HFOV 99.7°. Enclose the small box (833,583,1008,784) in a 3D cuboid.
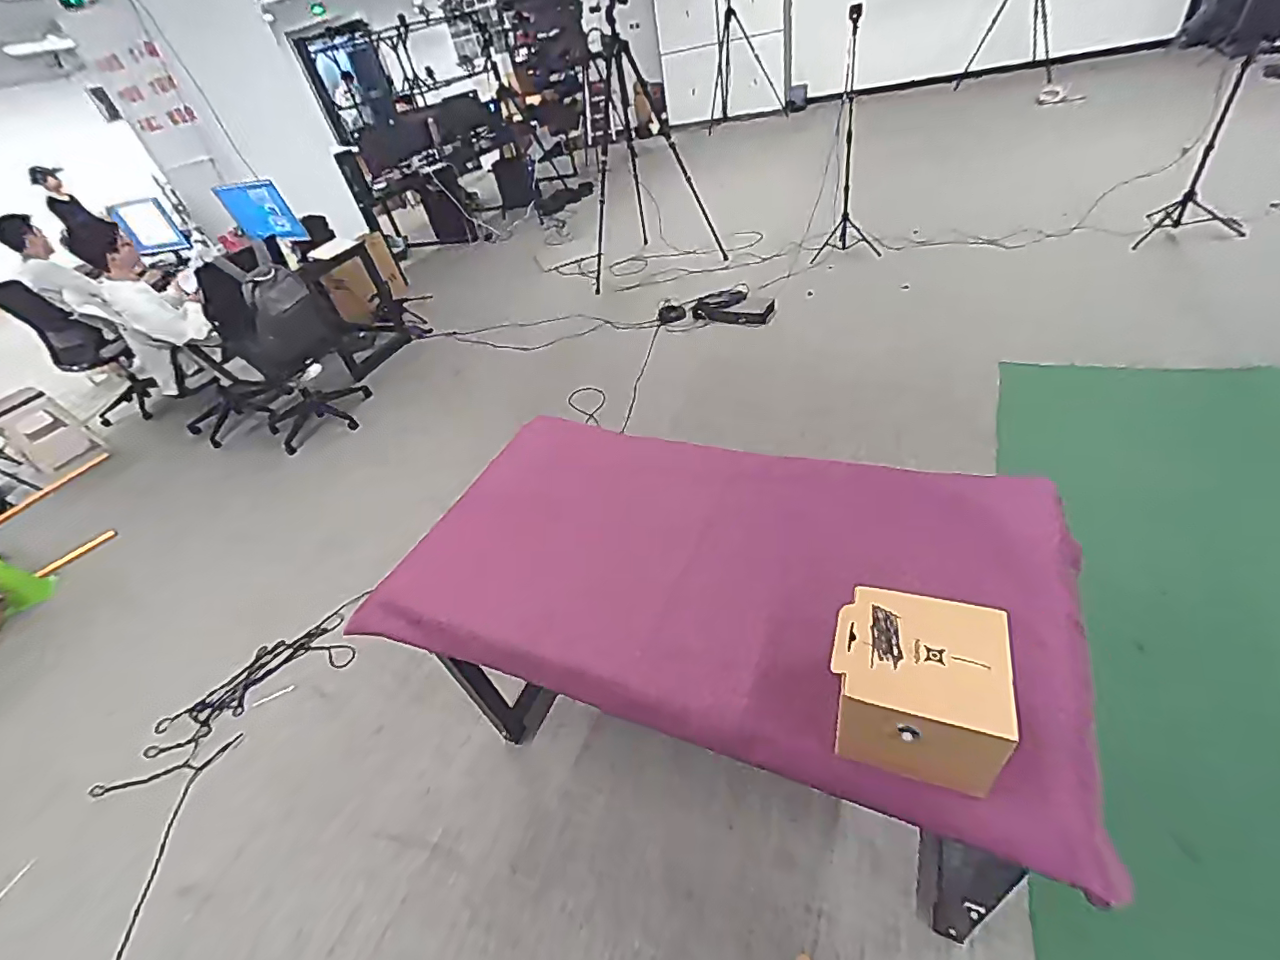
[{"bbox_3d":[0.354,0.262,0.703,0.179,0.176,0.168,8,46,24],"label":"small box"}]
